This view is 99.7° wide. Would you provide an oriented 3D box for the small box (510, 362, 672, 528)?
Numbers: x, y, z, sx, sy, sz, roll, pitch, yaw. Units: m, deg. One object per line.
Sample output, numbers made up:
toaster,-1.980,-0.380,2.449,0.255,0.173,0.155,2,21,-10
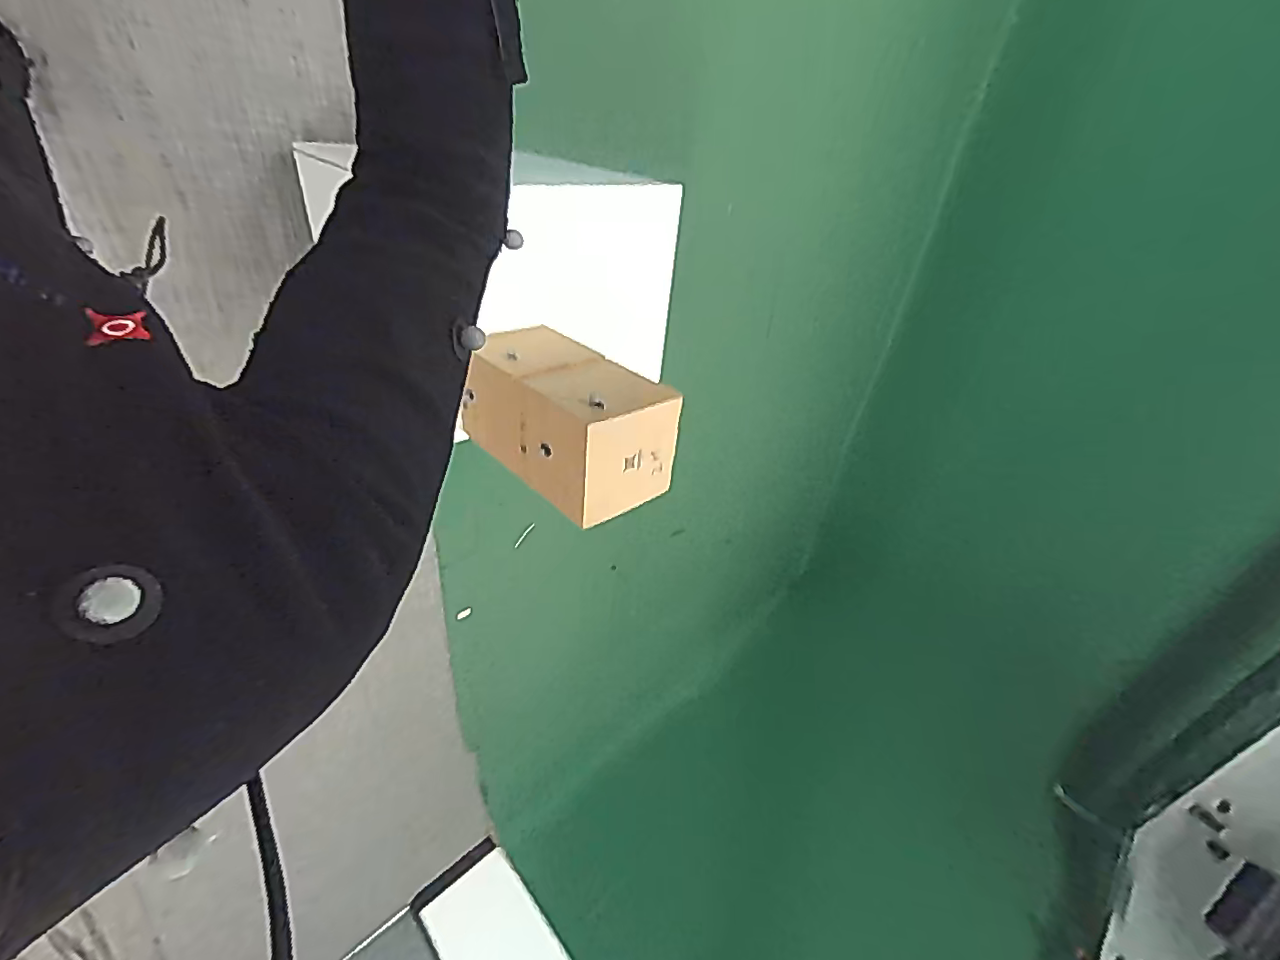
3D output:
small box,-0.080,-0.062,0.805,0.179,0.176,0.168,-24,134,-39
